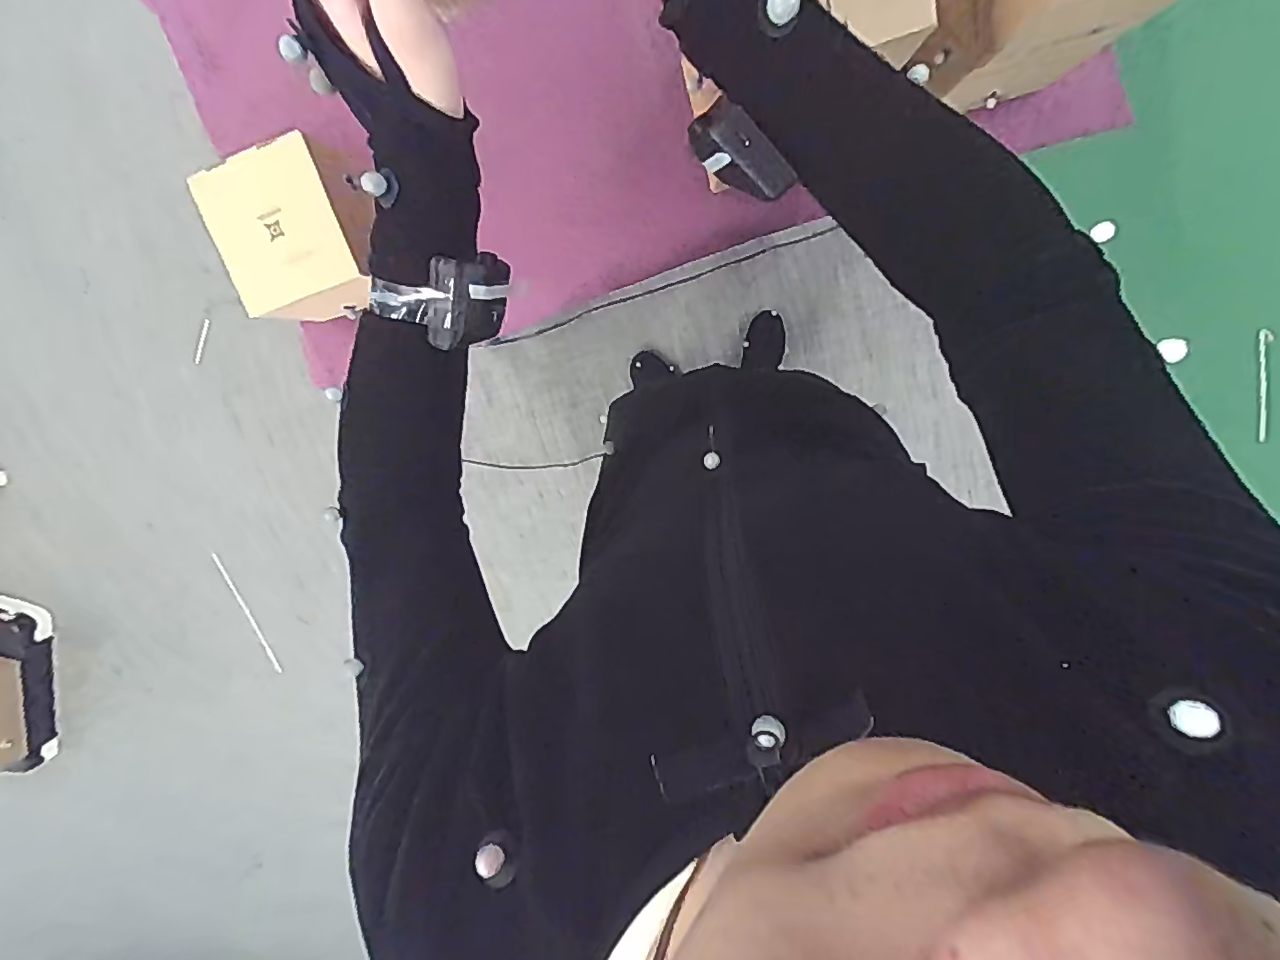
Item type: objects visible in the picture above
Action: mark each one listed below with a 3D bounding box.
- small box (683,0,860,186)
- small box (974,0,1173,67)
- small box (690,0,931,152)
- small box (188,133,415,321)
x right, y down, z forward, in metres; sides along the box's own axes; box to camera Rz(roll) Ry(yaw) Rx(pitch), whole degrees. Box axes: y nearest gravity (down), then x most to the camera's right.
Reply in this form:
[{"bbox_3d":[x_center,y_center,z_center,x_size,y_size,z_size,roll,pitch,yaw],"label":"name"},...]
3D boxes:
[{"bbox_3d":[0.154,-0.490,0.672,0.168,0.176,0.179,-15,102,8],"label":"small box"},{"bbox_3d":[0.416,-0.518,0.474,0.168,0.176,0.179,-12,103,8],"label":"small box"},{"bbox_3d":[0.145,-0.451,0.513,0.168,0.176,0.179,-14,103,8],"label":"small box"},{"bbox_3d":[-0.448,-0.331,0.747,0.168,0.176,0.179,-17,103,8],"label":"small box"}]
